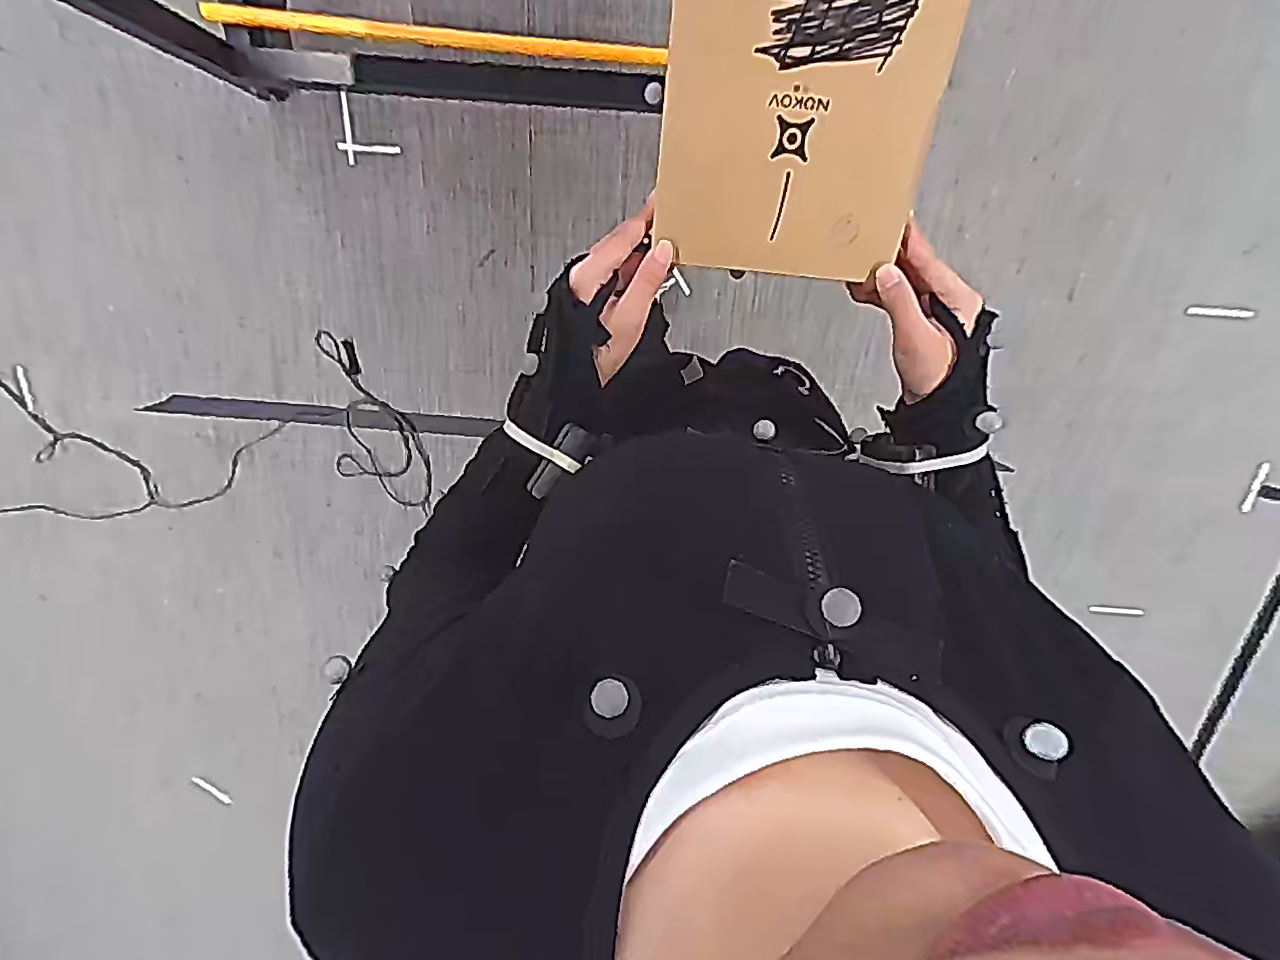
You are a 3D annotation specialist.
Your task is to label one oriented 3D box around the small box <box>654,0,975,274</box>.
[{"bbox_3d":[0.100,-0.259,0.393,0.168,0.176,0.179,6,118,0],"label":"small box"}]
